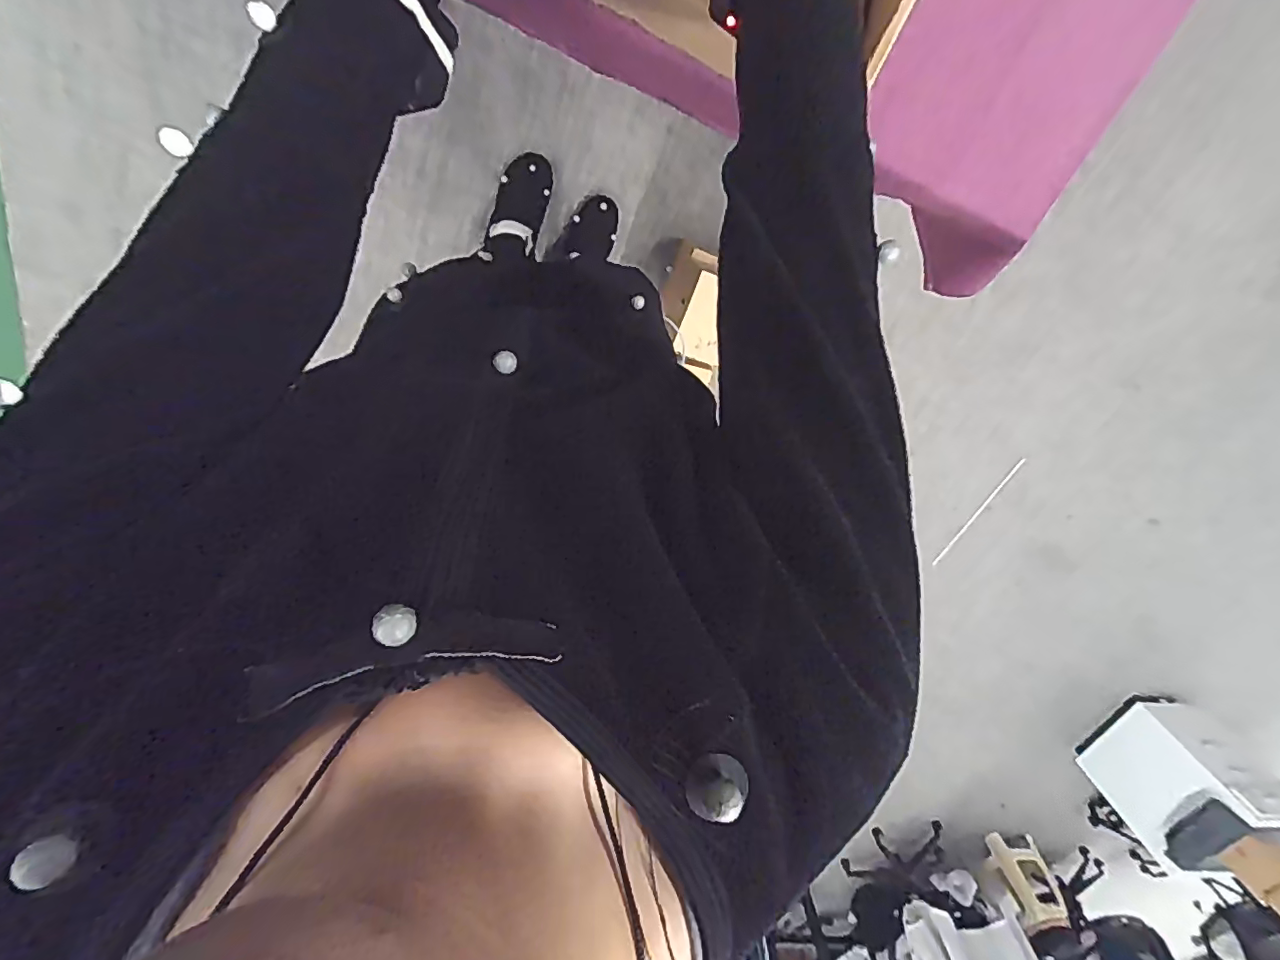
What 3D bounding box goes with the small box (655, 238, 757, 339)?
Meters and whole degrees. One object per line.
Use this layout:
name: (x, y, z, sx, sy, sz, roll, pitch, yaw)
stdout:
small box: (0.152, -0.472, 1.318, 0.179, 0.176, 0.168, 16, 119, -16)
